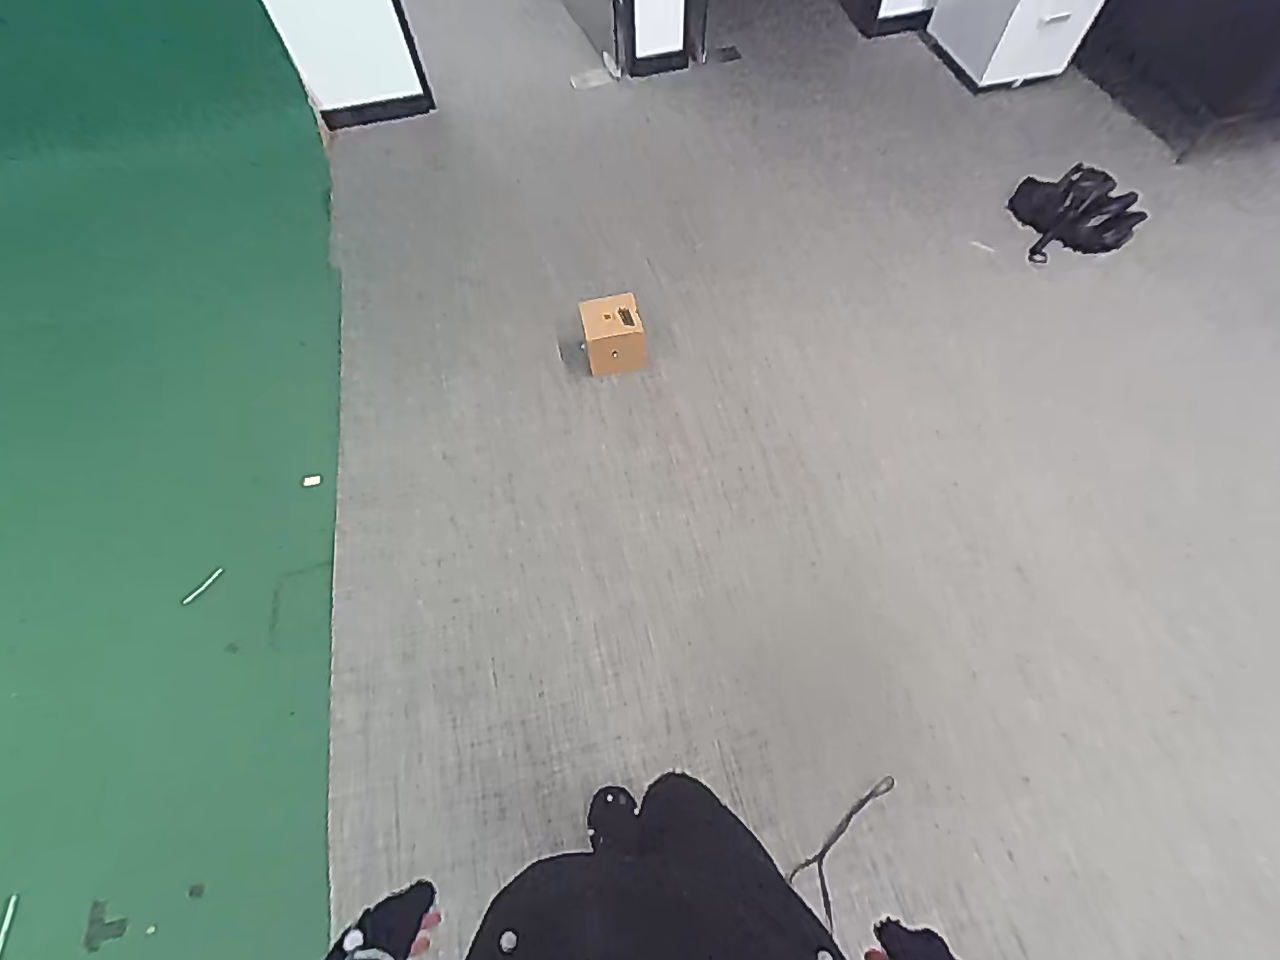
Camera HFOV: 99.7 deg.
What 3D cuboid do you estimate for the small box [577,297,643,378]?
[{"bbox_3d":[-0.094,-0.450,1.720,0.179,0.176,0.168,-14,63,-6],"label":"small box"}]
